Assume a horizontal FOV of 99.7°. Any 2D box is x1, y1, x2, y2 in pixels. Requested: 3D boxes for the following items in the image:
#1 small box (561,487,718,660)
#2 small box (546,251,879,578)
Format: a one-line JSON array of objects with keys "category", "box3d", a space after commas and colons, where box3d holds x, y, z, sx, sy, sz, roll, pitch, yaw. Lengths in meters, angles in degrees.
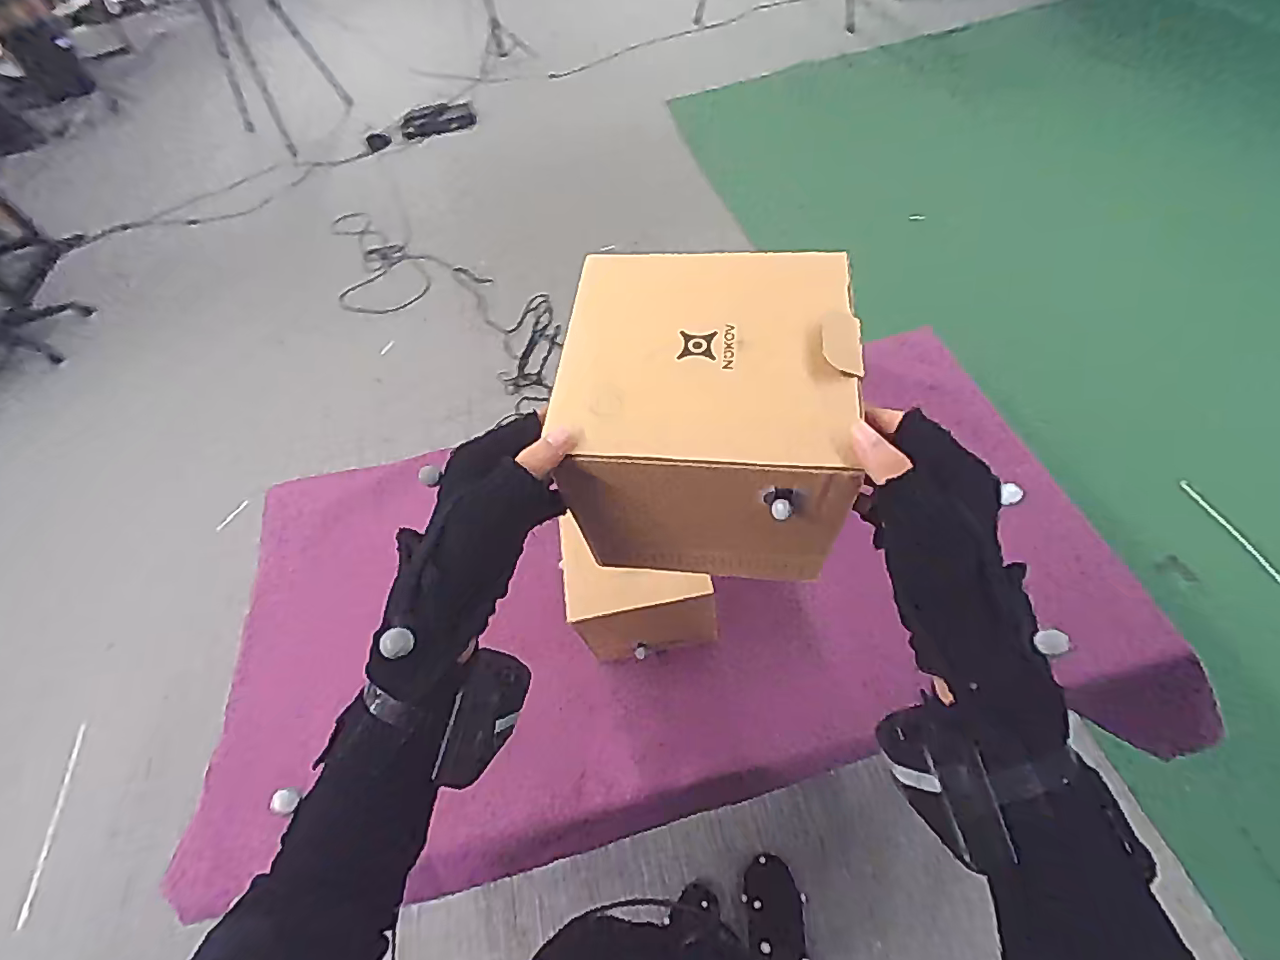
[{"category": "small box", "box3d": [0.001, 0.112, 0.700, 0.168, 0.176, 0.179, -12, 56, 2]}, {"category": "small box", "box3d": [0.052, -0.038, 0.386, 0.179, 0.176, 0.168, 3, 61, 8]}]
